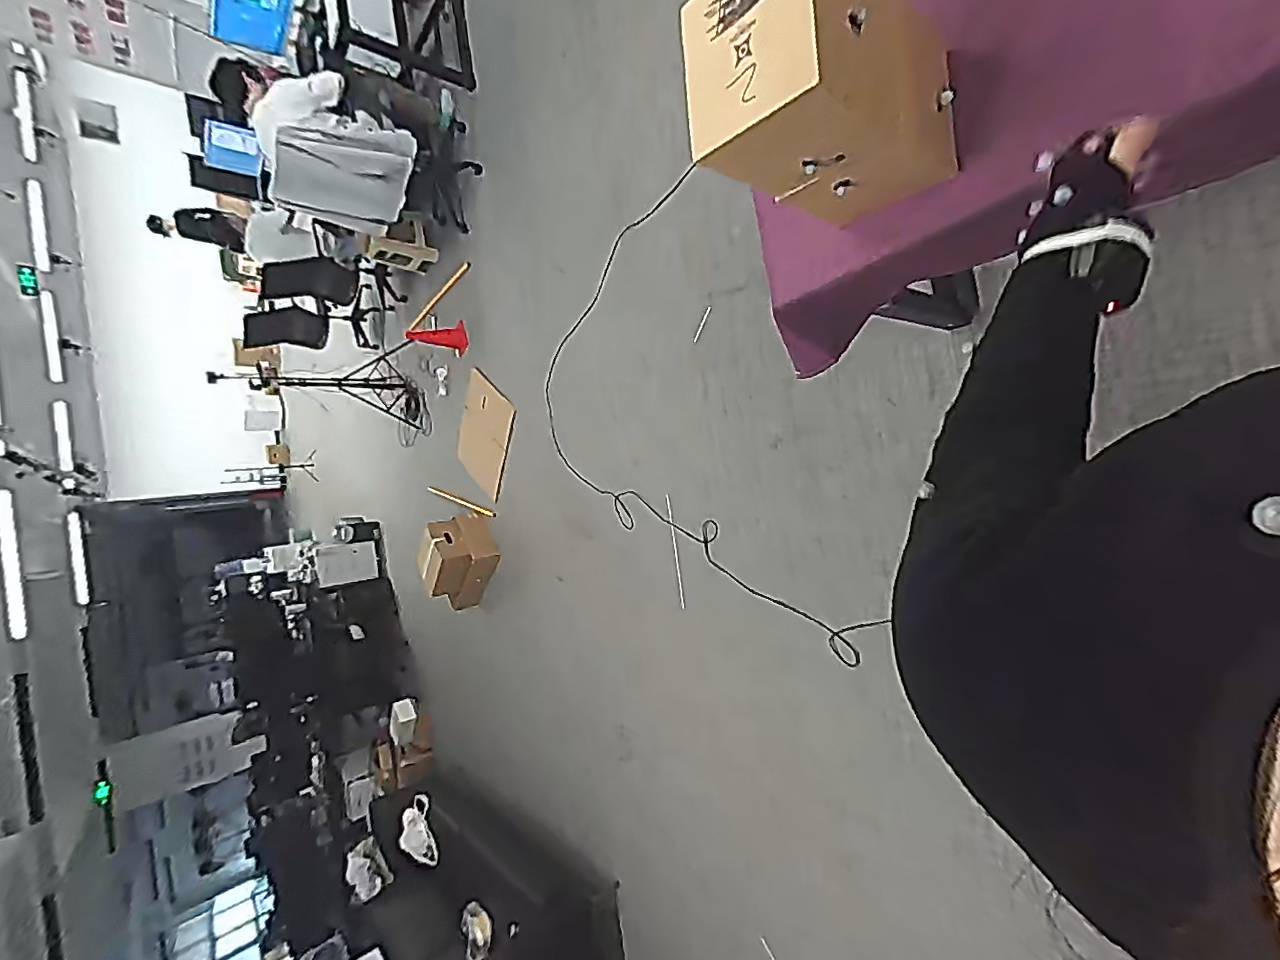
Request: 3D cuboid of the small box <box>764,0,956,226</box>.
[{"bbox_3d":[0.293,-0.468,0.725,0.179,0.176,0.168,-7,90,49],"label":"small box"}]
